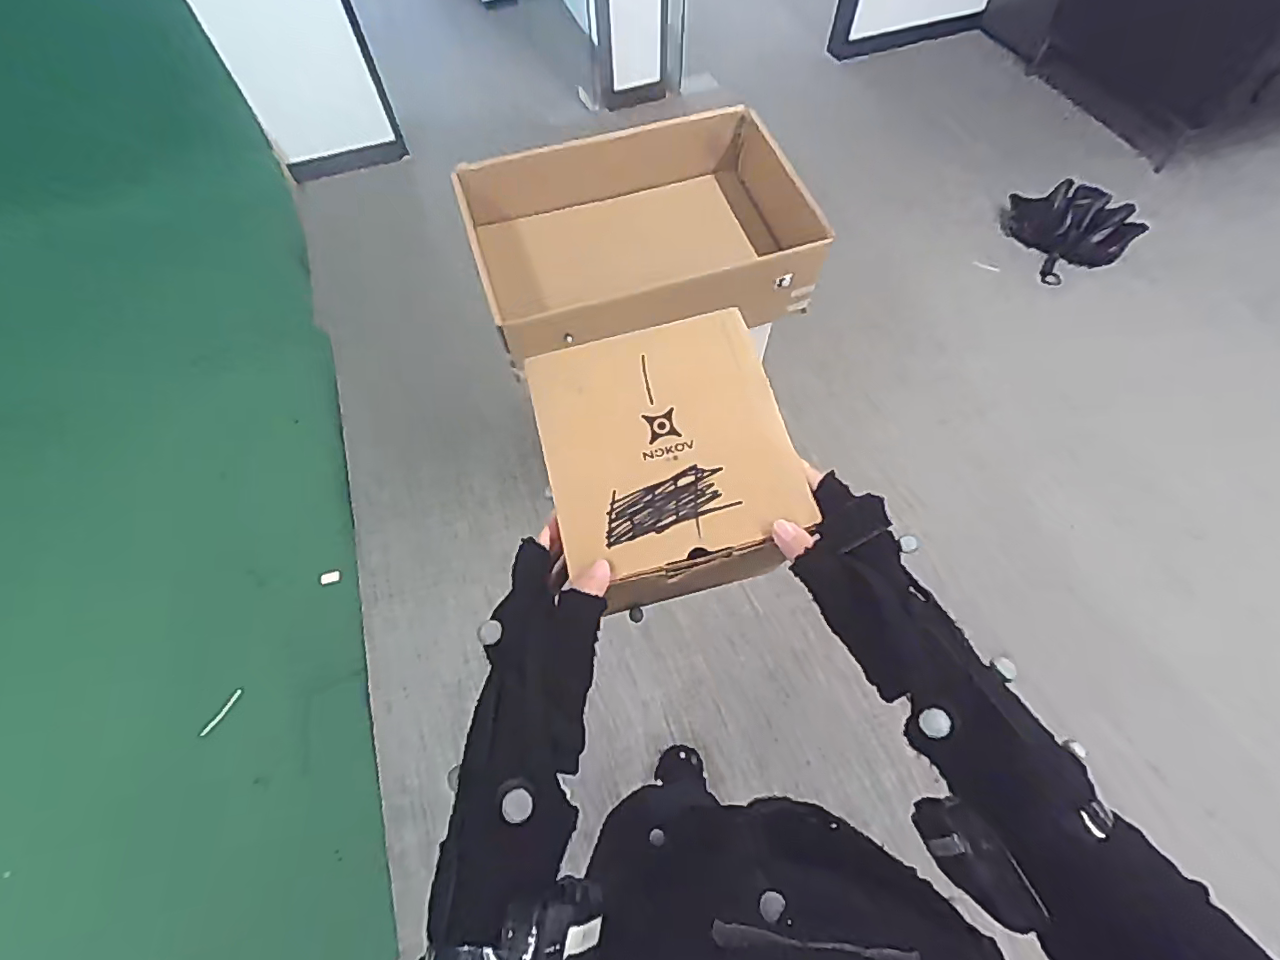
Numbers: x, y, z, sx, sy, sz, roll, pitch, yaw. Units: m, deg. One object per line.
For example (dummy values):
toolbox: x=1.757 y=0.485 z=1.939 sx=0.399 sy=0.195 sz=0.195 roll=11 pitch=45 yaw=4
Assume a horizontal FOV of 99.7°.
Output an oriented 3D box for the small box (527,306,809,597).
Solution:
small box: x=0.018 y=-0.007 z=0.451 sx=0.168 sy=0.176 sz=0.179 roll=-14 pitch=70 yaw=-2
